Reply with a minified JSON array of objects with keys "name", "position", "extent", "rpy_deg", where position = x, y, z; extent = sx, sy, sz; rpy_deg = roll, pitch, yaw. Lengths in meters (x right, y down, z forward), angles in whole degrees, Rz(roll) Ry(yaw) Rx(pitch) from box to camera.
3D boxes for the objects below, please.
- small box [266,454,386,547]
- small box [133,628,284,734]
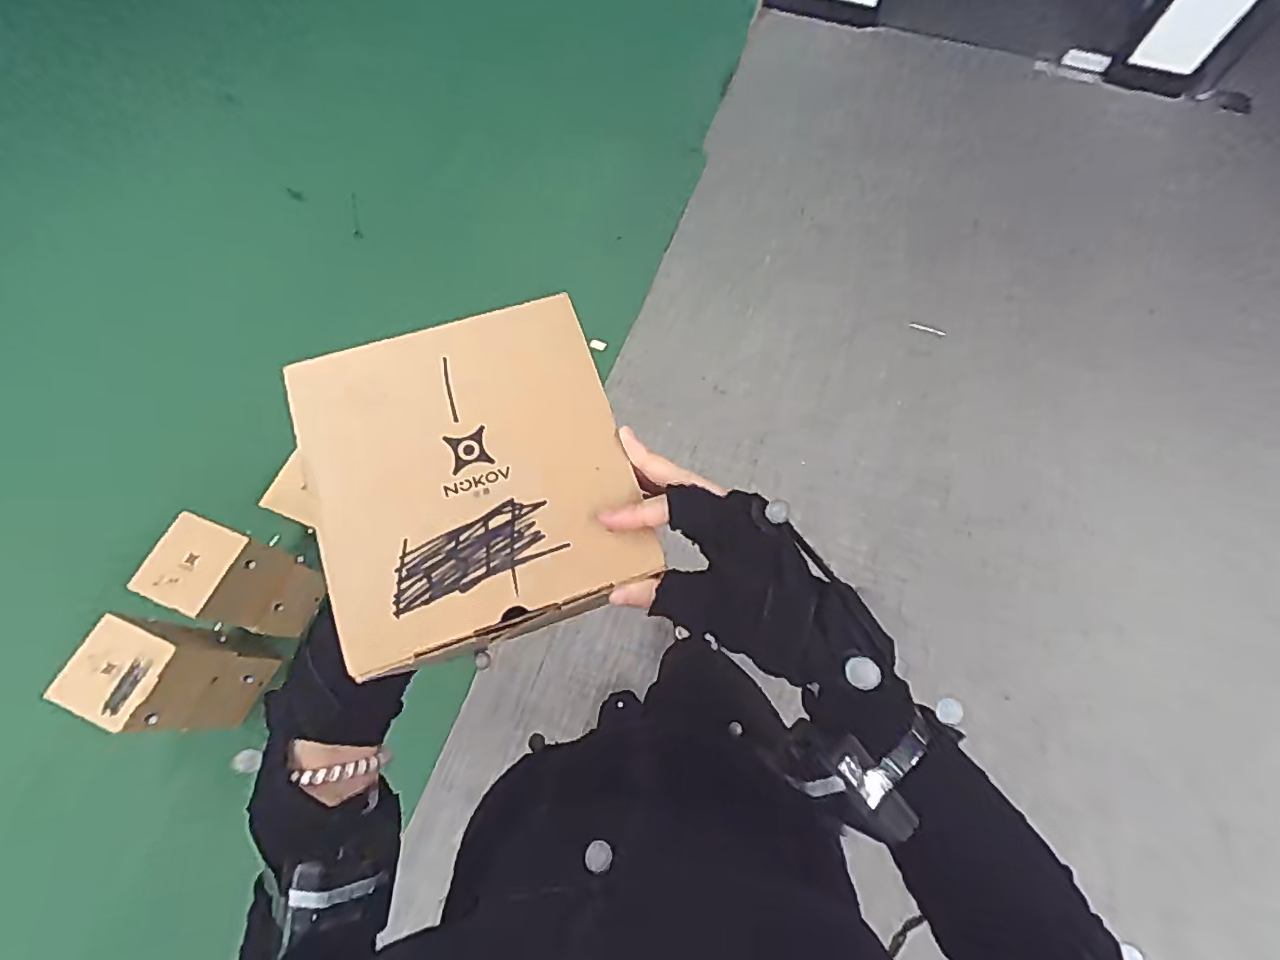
[{"name":"small box","position":[-0.808,0.059,1.409],"extent":[0.179,0.176,0.168],"rpy_deg":[19,69,7]},{"name":"small box","position":[-0.981,0.461,1.250],"extent":[0.179,0.176,0.168],"rpy_deg":[24,71,8]}]
